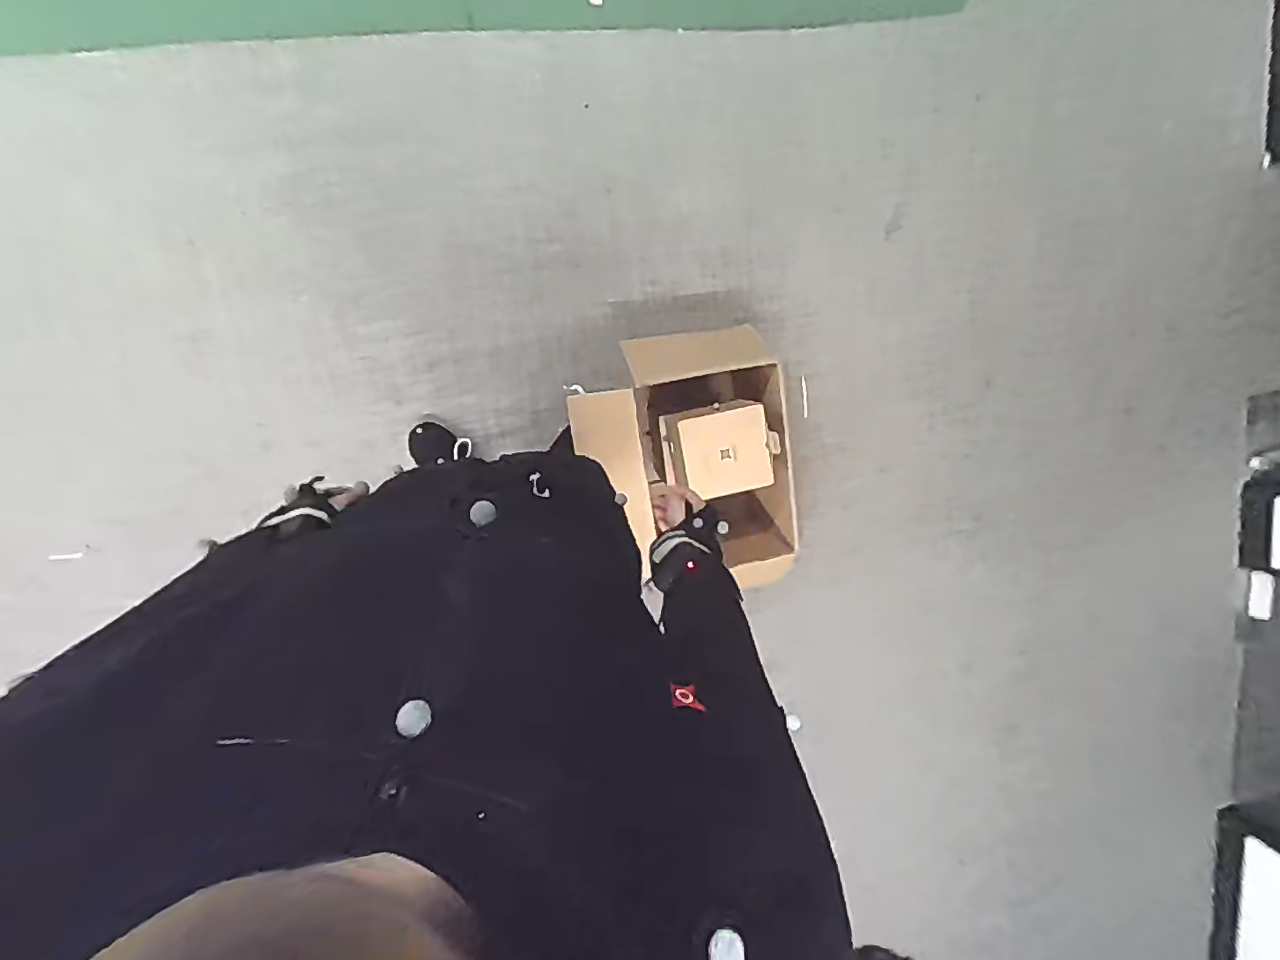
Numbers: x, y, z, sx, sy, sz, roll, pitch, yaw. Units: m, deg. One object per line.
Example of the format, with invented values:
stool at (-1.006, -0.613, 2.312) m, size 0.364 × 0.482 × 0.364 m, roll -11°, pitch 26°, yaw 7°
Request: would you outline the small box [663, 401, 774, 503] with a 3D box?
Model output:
small box at (0.157, -0.066, 1.124) m, size 0.179 × 0.176 × 0.168 m, roll -12°, pitch 102°, yaw -5°
